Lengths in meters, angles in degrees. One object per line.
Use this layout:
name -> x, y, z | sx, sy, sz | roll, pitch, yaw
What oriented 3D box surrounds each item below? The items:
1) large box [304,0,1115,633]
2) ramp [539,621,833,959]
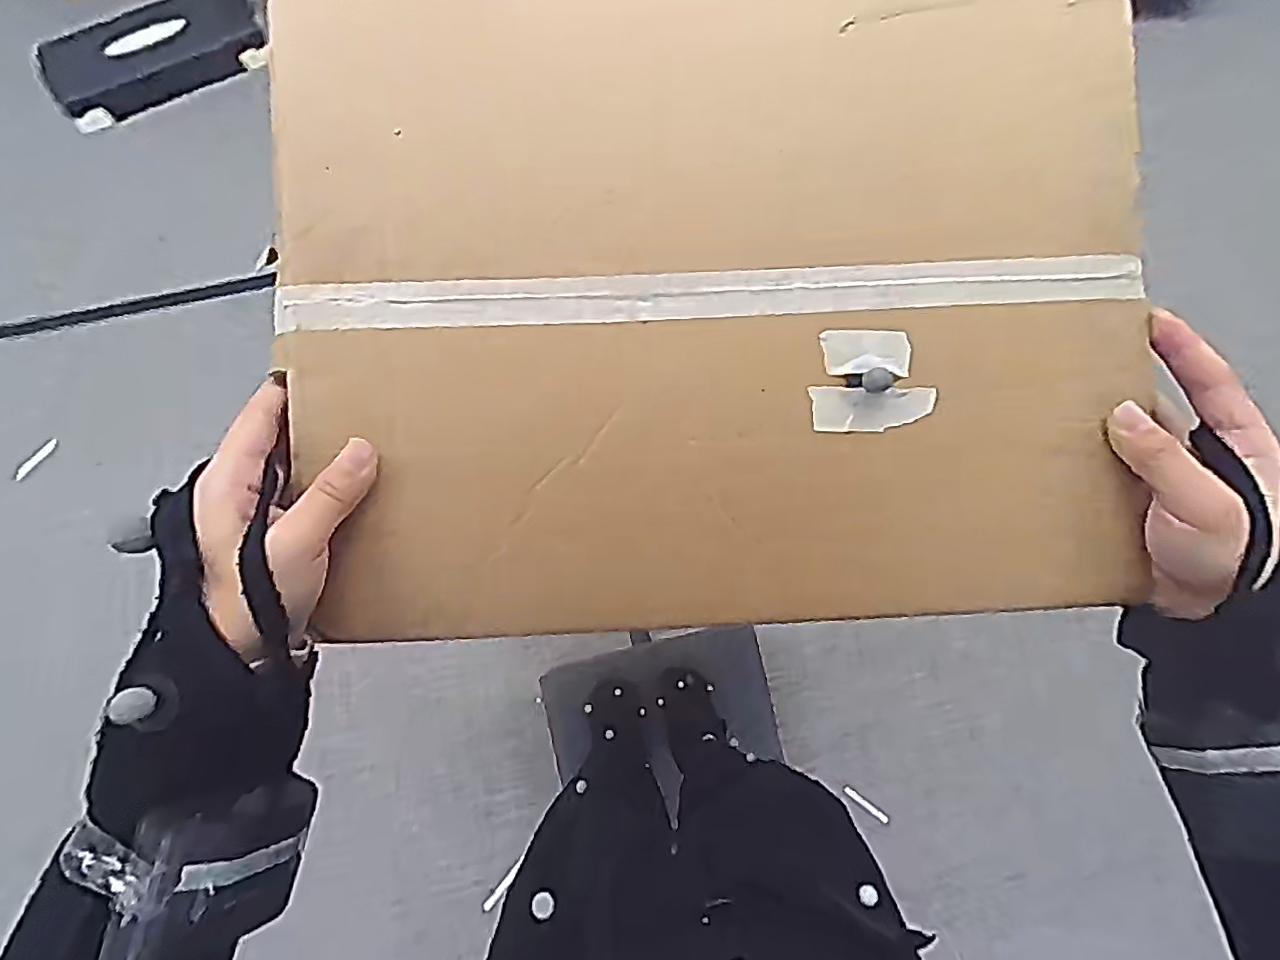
large box -> 0.033, -0.087, 0.420 | 0.408, 0.320, 0.320 | -2, 91, -2
ramp -> 0.127, 0.850, 1.169 | 0.509, 0.206, 0.991 | -14, 77, -5
